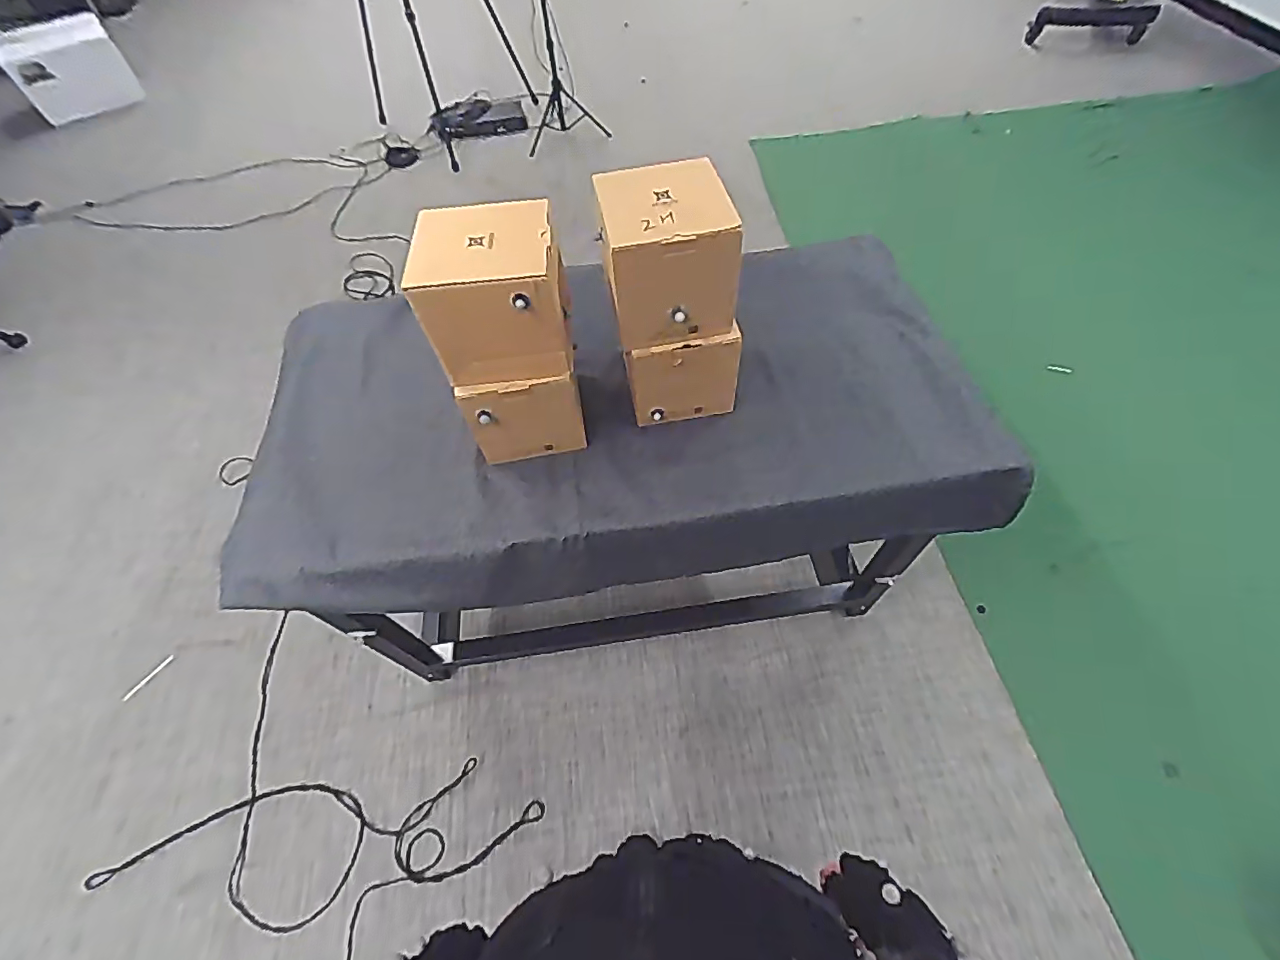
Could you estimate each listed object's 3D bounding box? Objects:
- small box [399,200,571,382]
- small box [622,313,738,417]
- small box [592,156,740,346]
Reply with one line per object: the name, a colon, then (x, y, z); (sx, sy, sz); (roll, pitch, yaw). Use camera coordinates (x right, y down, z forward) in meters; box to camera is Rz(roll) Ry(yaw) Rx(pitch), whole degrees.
small box: (-0.196, -0.251, 0.738); (0.179, 0.176, 0.168); (-6, 56, 0)
small box: (0.058, -0.221, 0.893); (0.168, 0.176, 0.179); (-10, 57, -2)
small box: (0.032, -0.318, 0.763); (0.168, 0.176, 0.179); (-11, 58, -2)
